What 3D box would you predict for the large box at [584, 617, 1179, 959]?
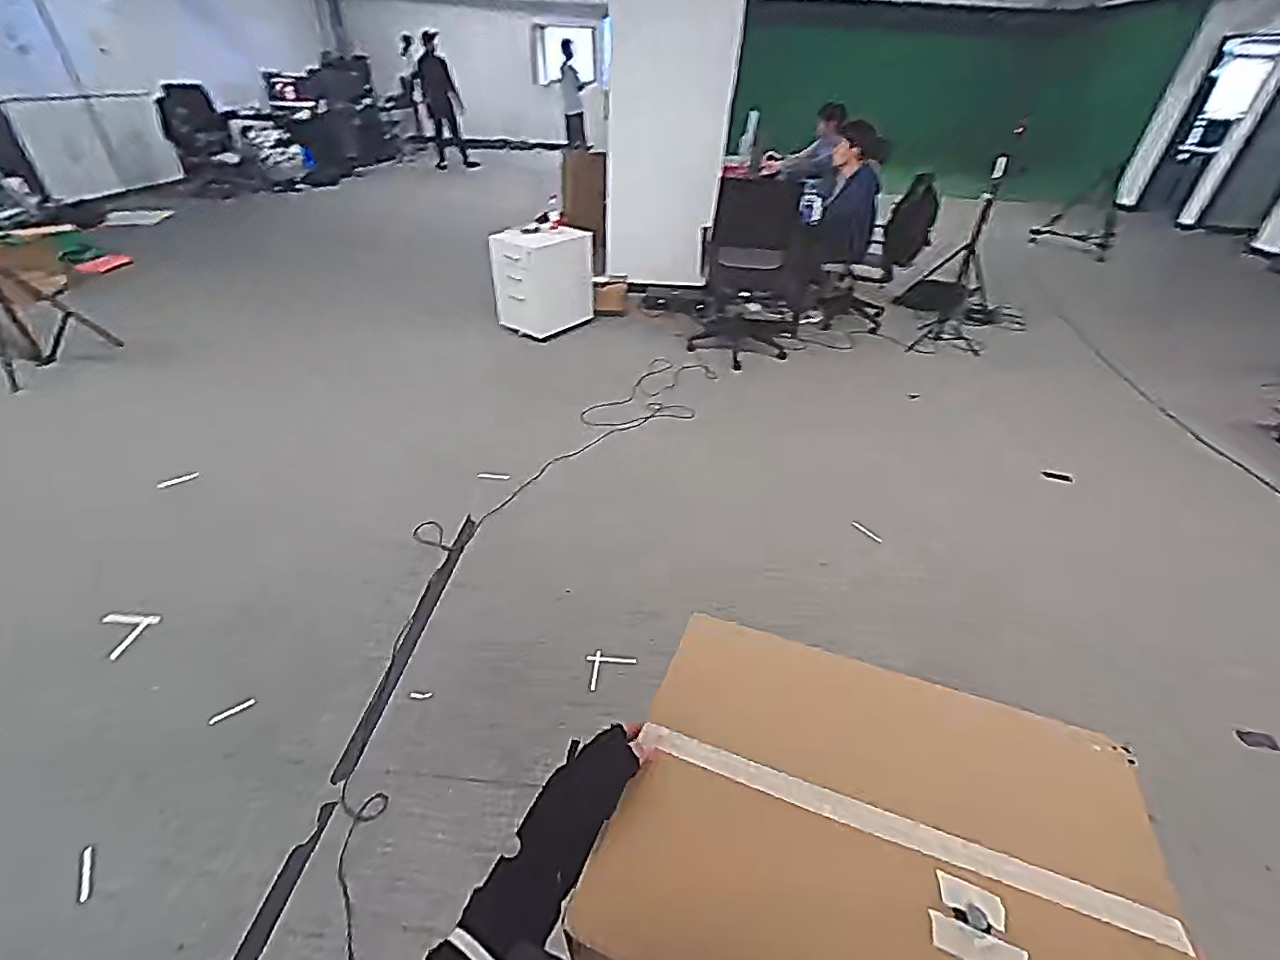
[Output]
[{"bbox_3d":[0.194,0.400,0.534,0.408,0.320,0.320,13,38,18],"label":"large box"}]
